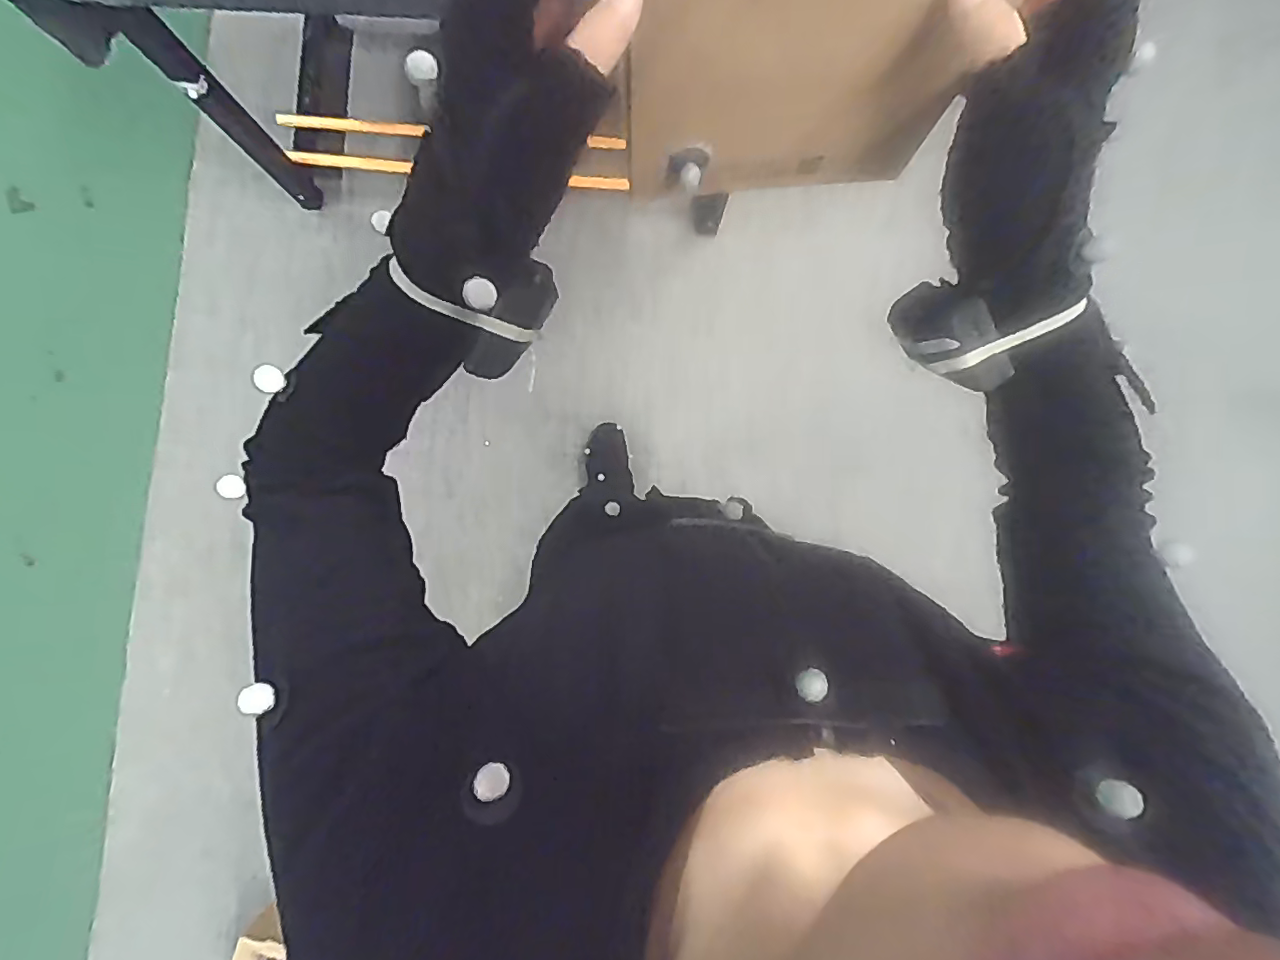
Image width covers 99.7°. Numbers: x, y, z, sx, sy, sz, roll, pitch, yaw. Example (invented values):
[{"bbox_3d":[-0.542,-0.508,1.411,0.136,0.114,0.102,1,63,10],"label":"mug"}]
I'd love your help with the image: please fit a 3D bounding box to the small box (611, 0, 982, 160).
[{"bbox_3d":[0.067,-0.280,0.254,0.168,0.176,0.179,-4,82,-1],"label":"small box"}]
